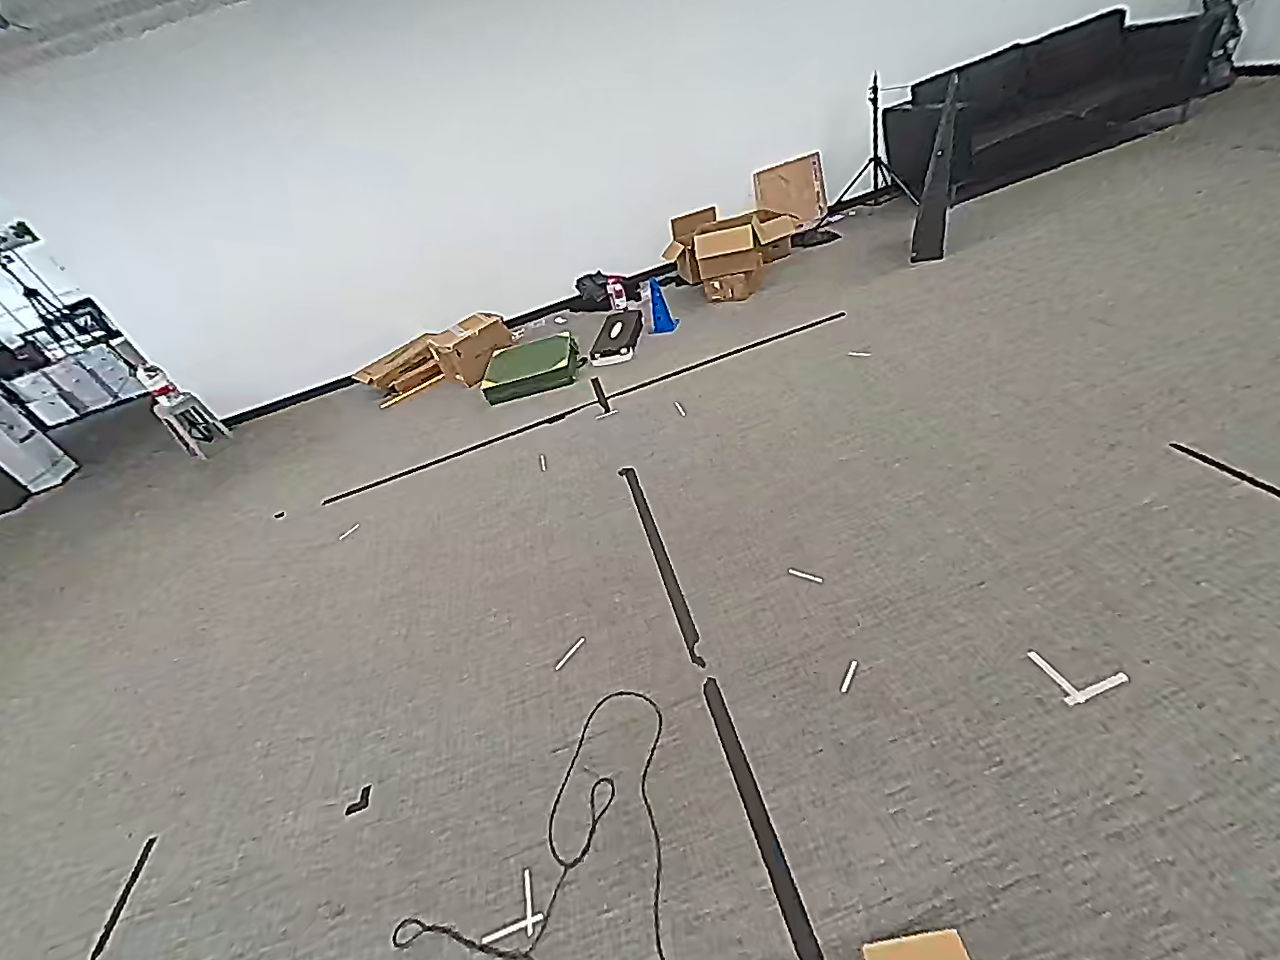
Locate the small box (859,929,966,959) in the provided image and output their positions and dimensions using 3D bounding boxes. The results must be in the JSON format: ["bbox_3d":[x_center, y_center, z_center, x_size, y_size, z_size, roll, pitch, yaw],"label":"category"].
[{"bbox_3d":[0.517,0.953,0.979,0.179,0.176,0.168,-14,36,5],"label":"small box"}]
